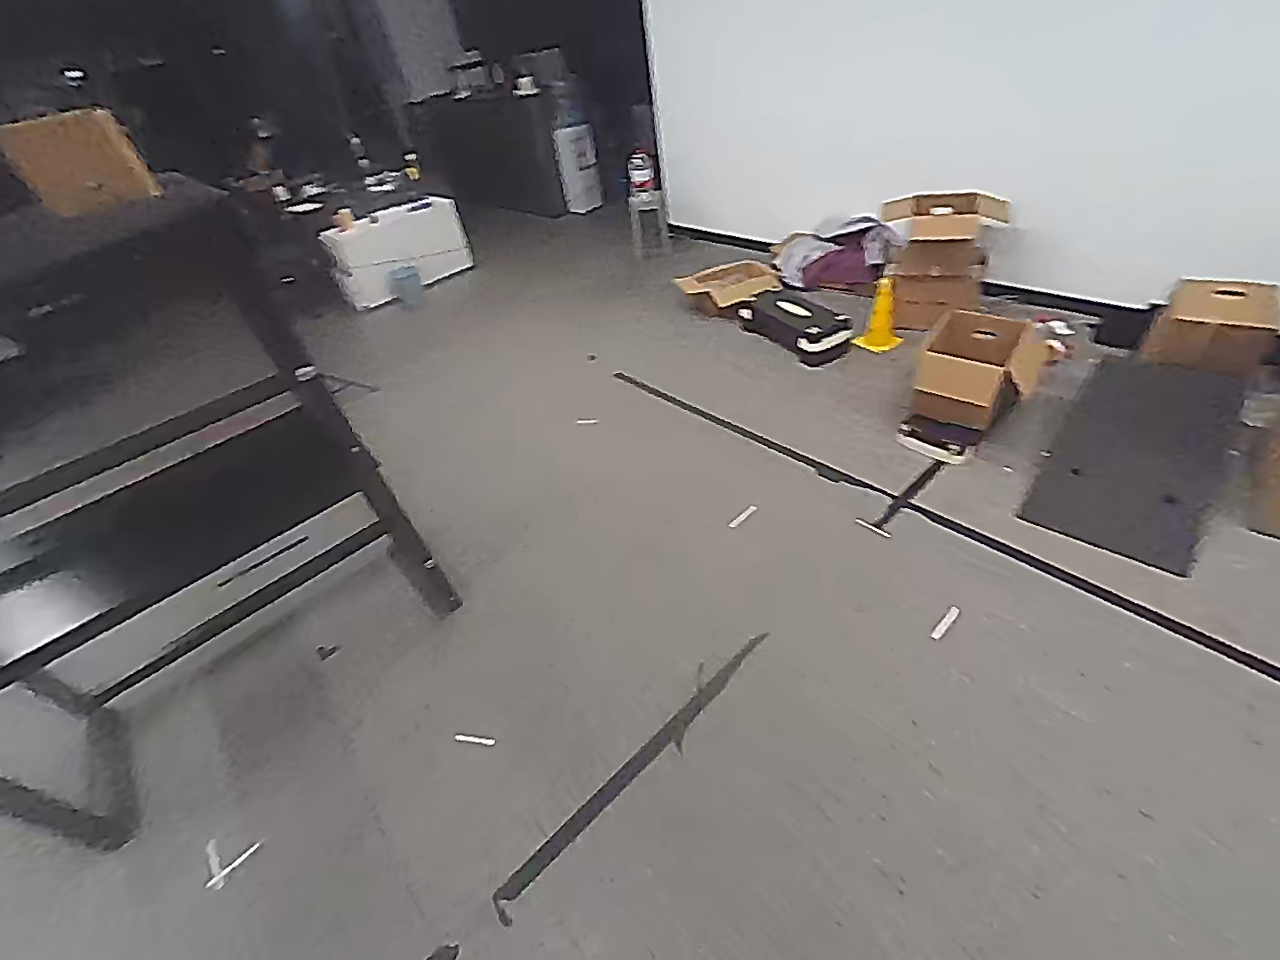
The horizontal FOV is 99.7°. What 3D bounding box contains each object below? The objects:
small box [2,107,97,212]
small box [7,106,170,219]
[{"bbox_3d":[-1.283,-0.736,1.245,0.168,0.176,0.179,-30,46,-21],"label":"small box"},{"bbox_3d":[-1.126,-0.659,1.125,0.168,0.176,0.179,-30,45,-19],"label":"small box"}]
